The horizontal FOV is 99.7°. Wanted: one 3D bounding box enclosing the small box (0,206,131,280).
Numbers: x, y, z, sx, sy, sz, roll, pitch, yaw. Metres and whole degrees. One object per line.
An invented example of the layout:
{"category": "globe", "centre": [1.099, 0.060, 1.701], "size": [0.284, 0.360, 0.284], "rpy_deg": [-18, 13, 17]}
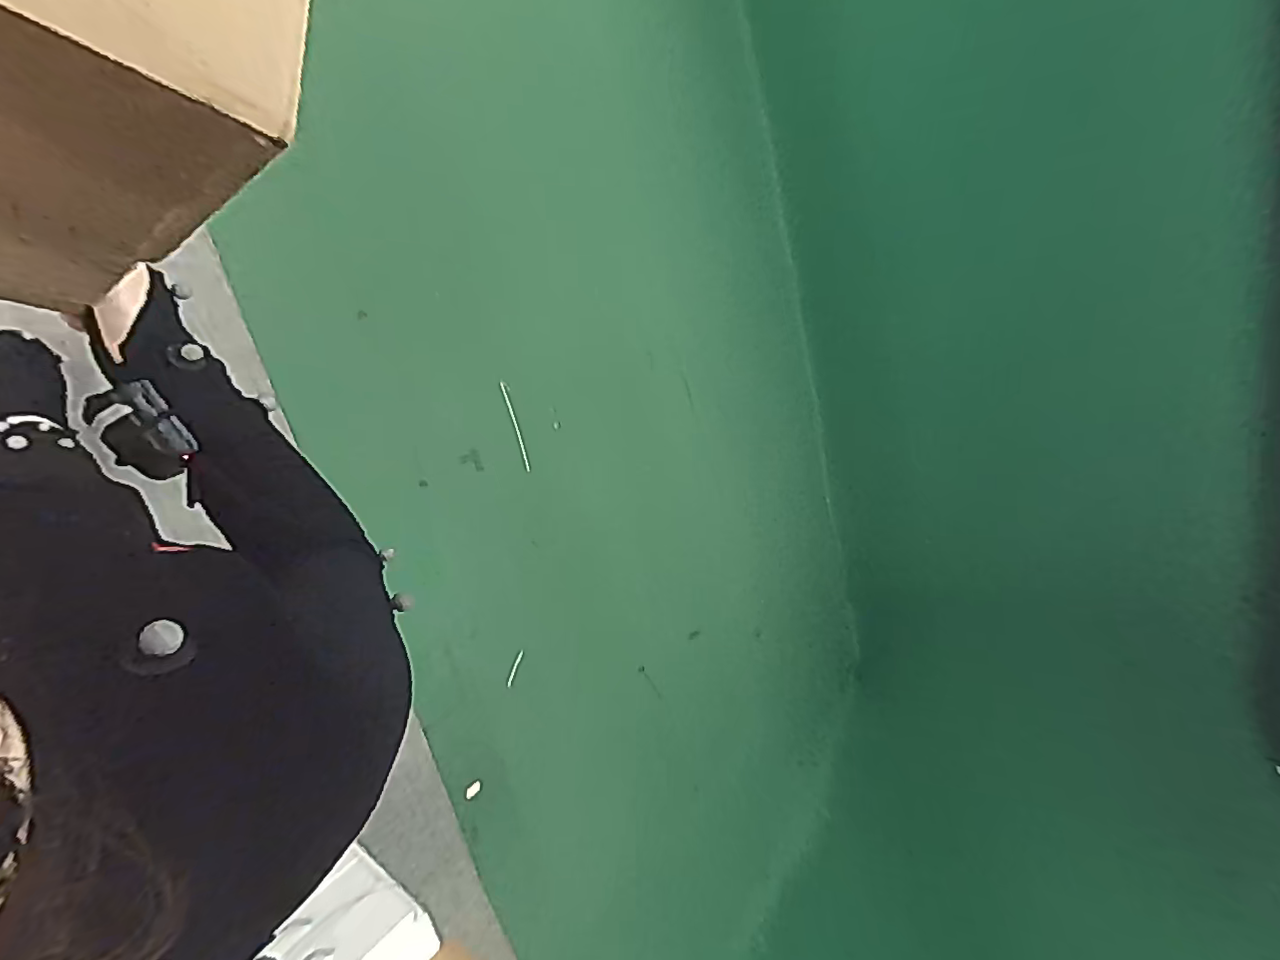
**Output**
{"category": "small box", "centre": [-0.312, -0.190, 0.205], "size": [0.179, 0.176, 0.168], "rpy_deg": [7, 91, -51]}

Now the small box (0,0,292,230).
{"category": "small box", "centre": [-0.185, -0.171, 0.104], "size": [0.179, 0.176, 0.168], "rpy_deg": [6, 92, -49]}
